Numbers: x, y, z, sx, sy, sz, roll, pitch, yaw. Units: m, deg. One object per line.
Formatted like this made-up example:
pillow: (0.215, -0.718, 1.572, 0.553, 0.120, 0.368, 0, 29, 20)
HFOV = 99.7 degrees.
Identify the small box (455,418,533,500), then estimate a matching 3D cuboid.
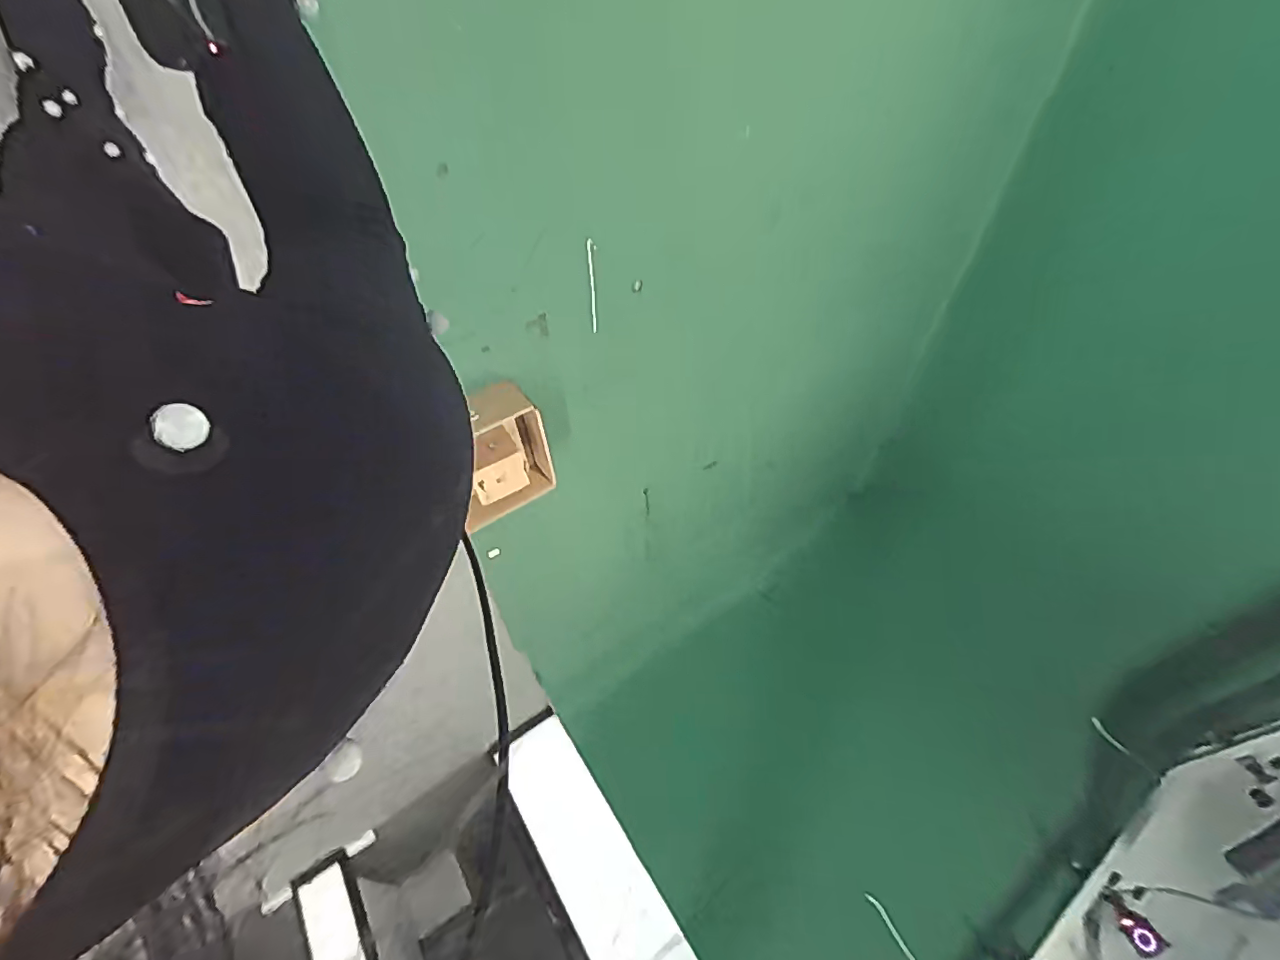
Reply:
small box: (-0.475, -0.073, 1.767, 0.179, 0.176, 0.168, -28, 146, -20)
